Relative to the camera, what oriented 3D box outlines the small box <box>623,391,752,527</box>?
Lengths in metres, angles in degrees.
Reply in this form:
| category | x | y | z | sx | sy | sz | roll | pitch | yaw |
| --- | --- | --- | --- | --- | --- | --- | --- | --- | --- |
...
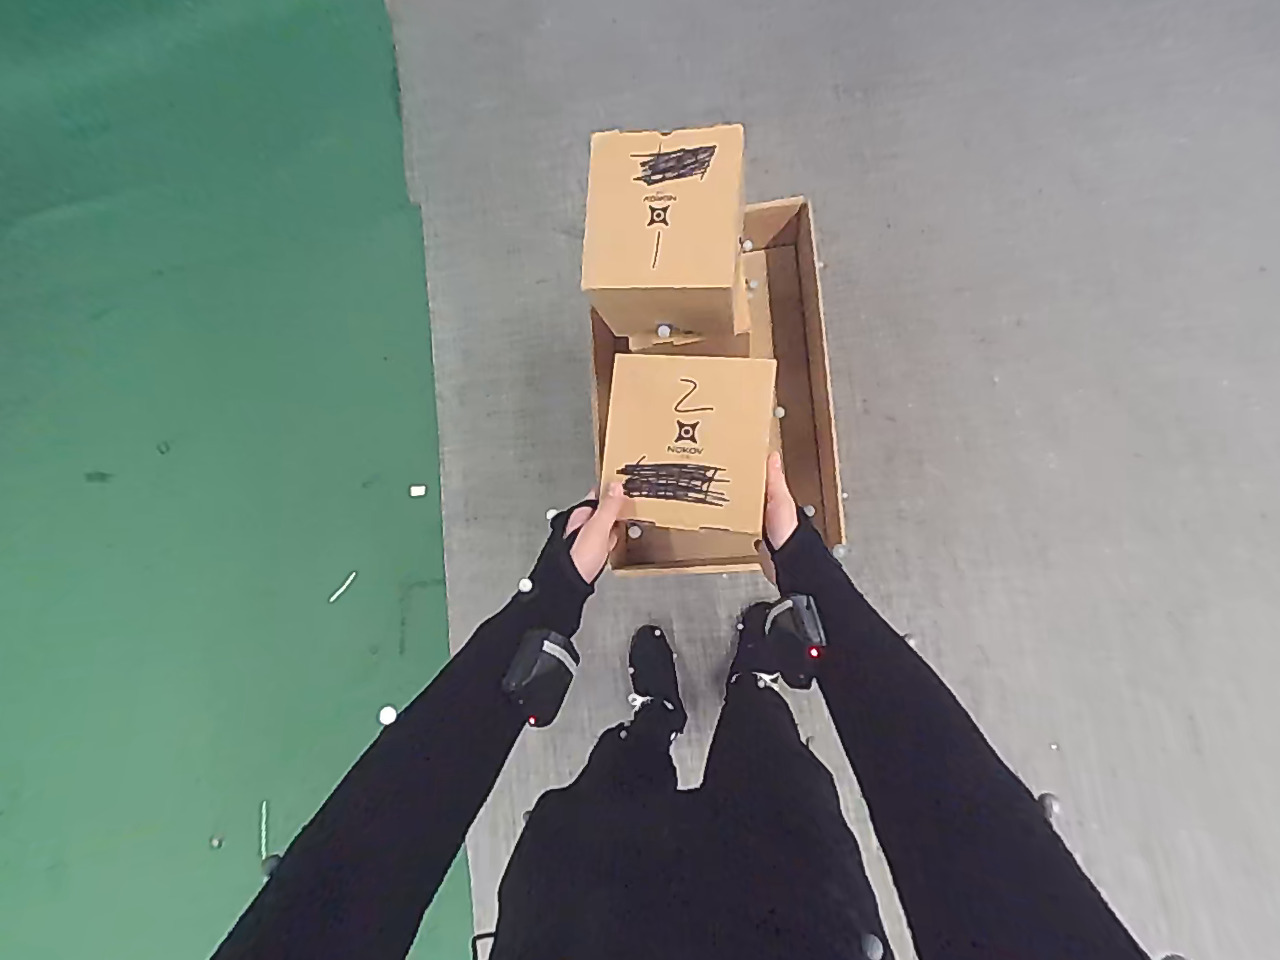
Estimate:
| category | x | y | z | sx | sy | sz | roll | pitch | yaw |
| --- | --- | --- | --- | --- | --- | --- | --- | --- | --- |
| small box | 0.077 | -0.023 | 0.791 | 0.168 | 0.176 | 0.179 | 2 | 84 | 10 |

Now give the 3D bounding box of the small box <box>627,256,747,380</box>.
| category | x | y | z | sx | sy | sz | roll | pitch | yaw |
| --- | --- | --- | --- | --- | --- | --- | --- | --- | --- |
| small box | 0.069 | -0.265 | 0.819 | 0.168 | 0.176 | 0.179 | -6 | 86 | 10 |

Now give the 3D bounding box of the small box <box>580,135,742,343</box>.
| category | x | y | z | sx | sy | sz | roll | pitch | yaw |
| --- | --- | --- | --- | --- | --- | --- | --- | --- | --- |
| small box | 0.034 | -0.280 | 0.659 | 0.168 | 0.176 | 0.179 | 4 | 88 | 11 |
